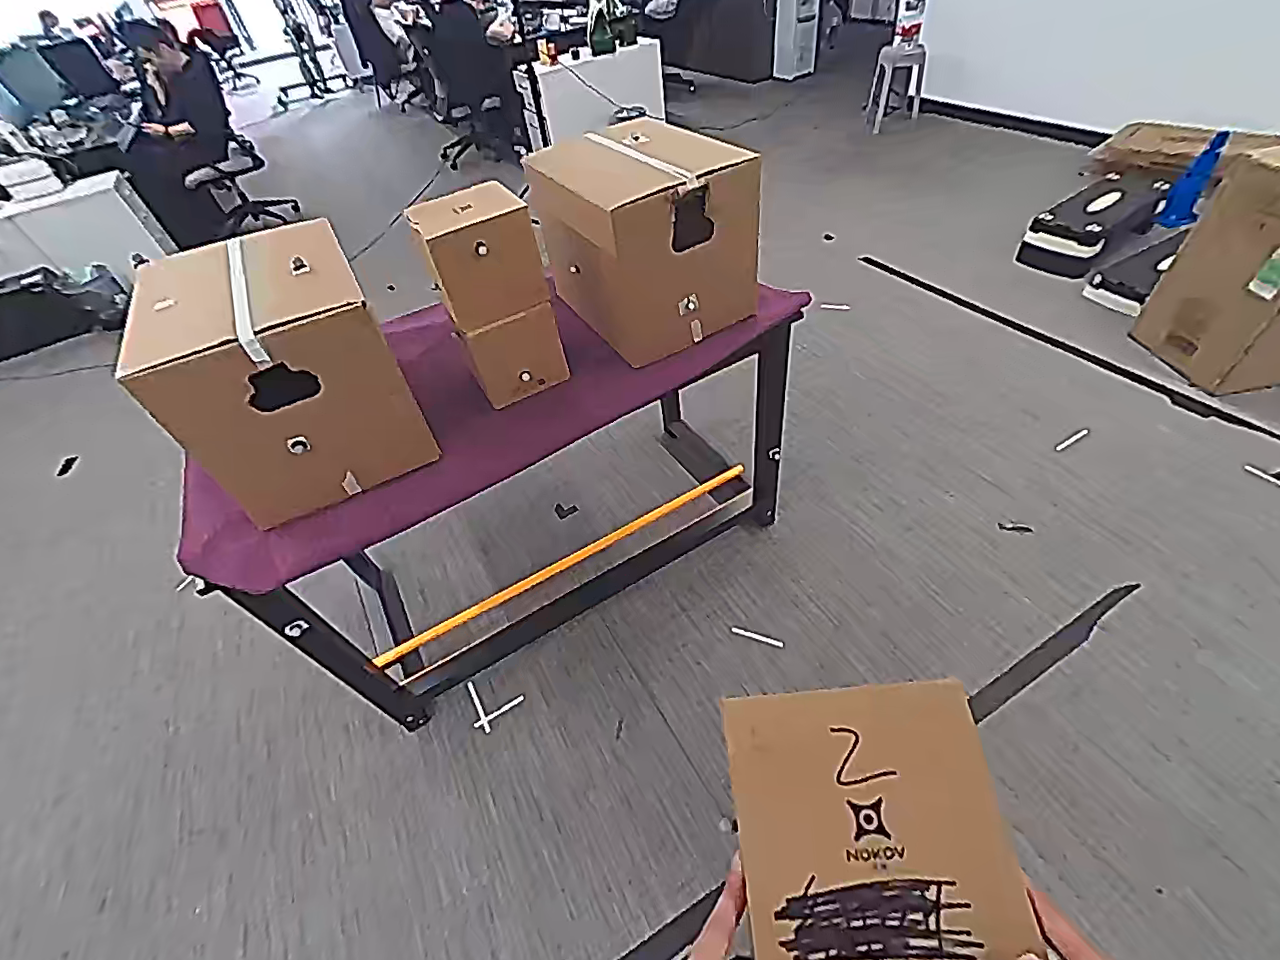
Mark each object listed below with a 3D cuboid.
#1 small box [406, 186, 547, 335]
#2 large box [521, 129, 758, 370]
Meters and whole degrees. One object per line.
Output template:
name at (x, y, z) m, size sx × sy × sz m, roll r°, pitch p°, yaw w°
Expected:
small box at (-0.280, -0.388, 0.959) m, size 0.179 × 0.176 × 0.168 m, roll -28°, pitch 49°, yaw -14°
large box at (0.004, -0.495, 1.140) m, size 0.320 × 0.320 × 0.408 m, roll -27°, pitch 48°, yaw -16°
